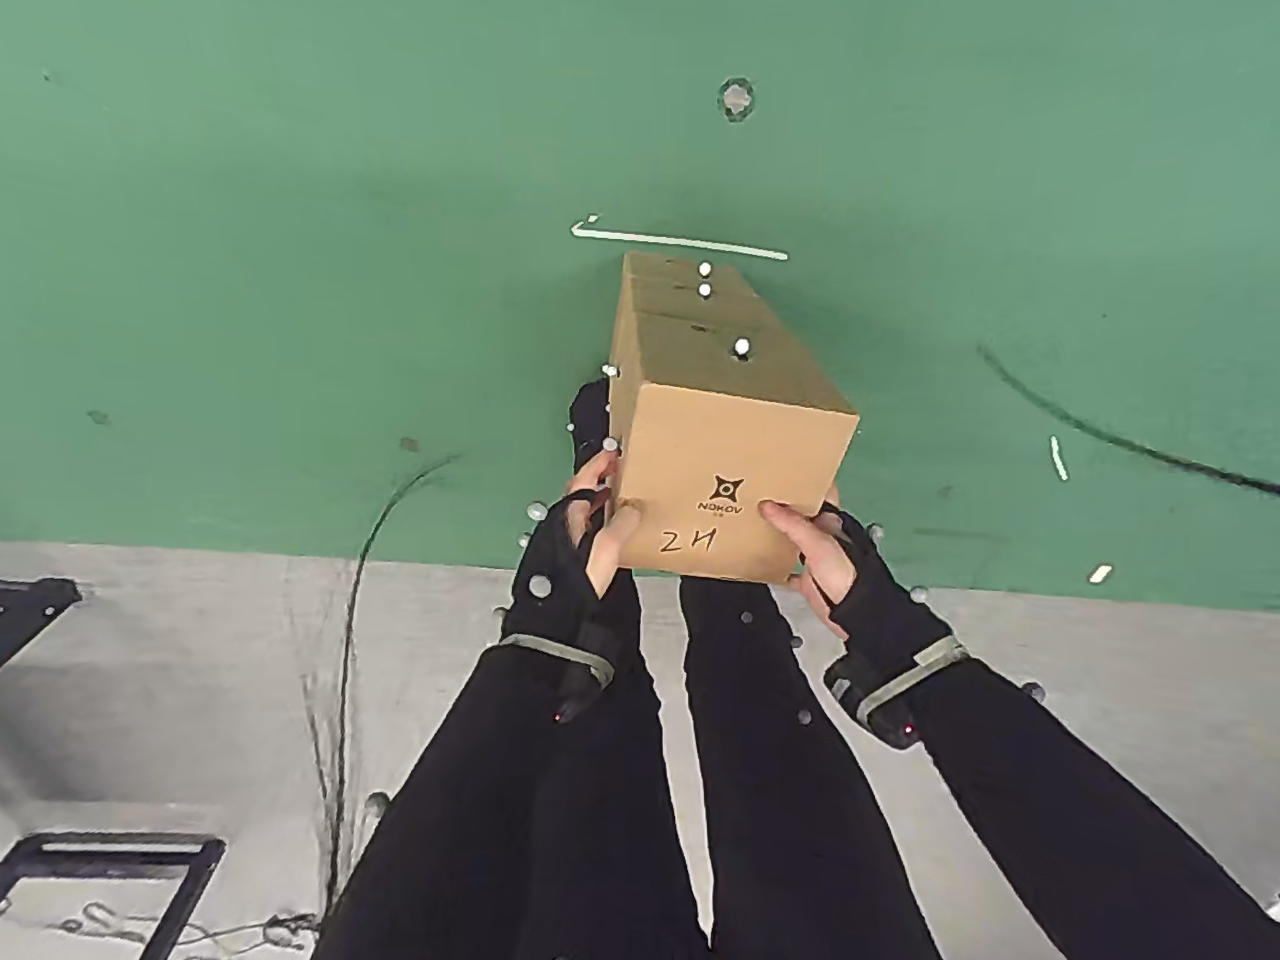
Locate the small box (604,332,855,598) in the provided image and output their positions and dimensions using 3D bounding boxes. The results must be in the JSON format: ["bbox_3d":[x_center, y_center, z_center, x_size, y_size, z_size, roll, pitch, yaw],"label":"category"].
[{"bbox_3d":[0.060,-0.020,0.497,0.168,0.176,0.179,9,122,-8],"label":"small box"}]

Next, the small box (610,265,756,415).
[{"bbox_3d":[0.048,-0.196,0.777,0.168,0.176,0.179,7,123,-7],"label":"small box"}]
